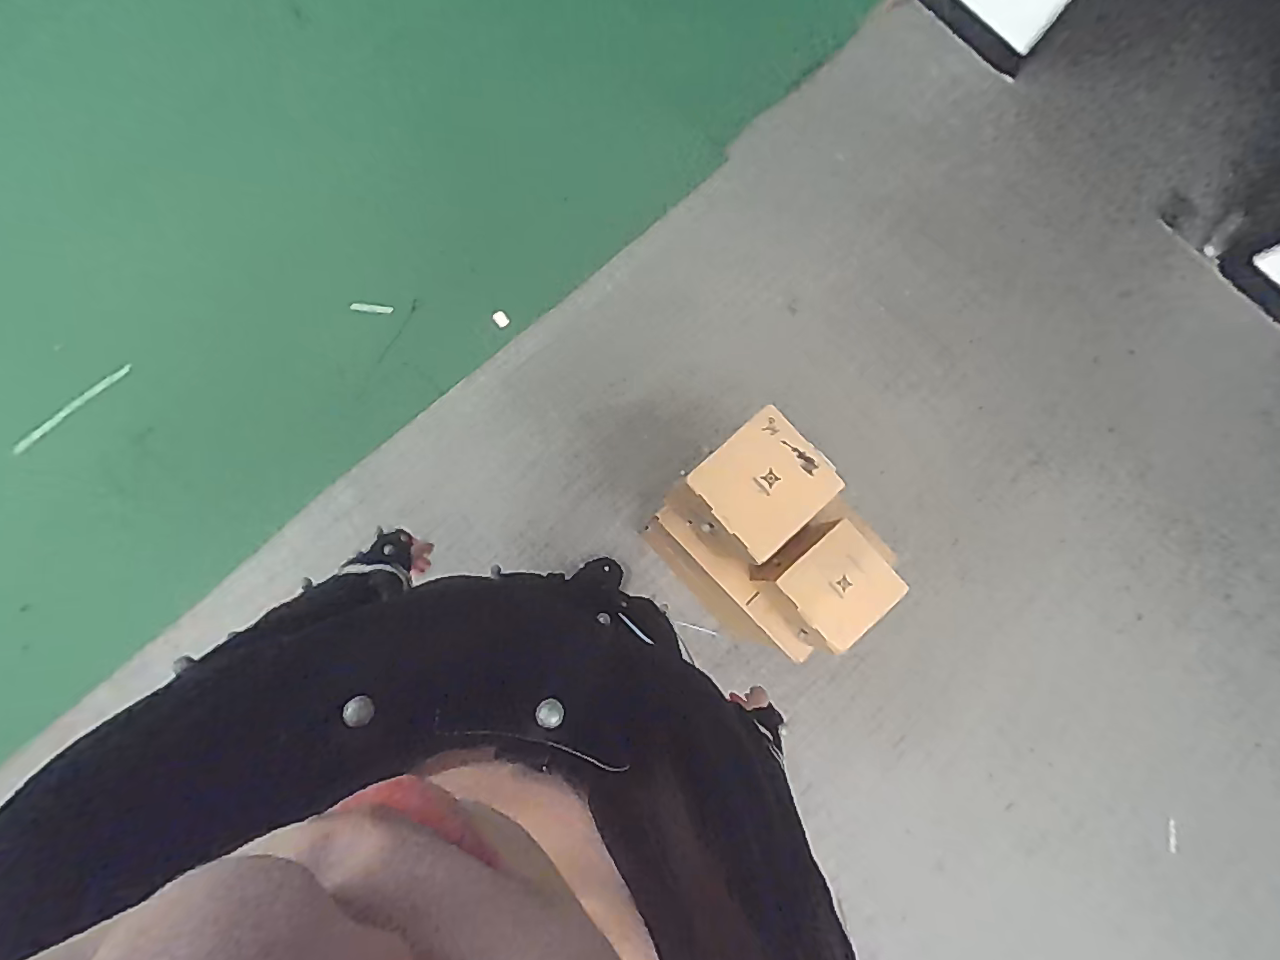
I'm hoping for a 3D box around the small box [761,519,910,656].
[{"bbox_3d":[0.344,0.196,0.999,0.179,0.176,0.168,-38,84,-9],"label":"small box"}]

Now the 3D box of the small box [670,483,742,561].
[{"bbox_3d":[0.174,0.032,1.017,0.179,0.176,0.168,-42,87,-7],"label":"small box"}]

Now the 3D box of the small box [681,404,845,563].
[{"bbox_3d":[0.179,0.013,0.853,0.179,0.176,0.168,-41,87,-6],"label":"small box"}]
